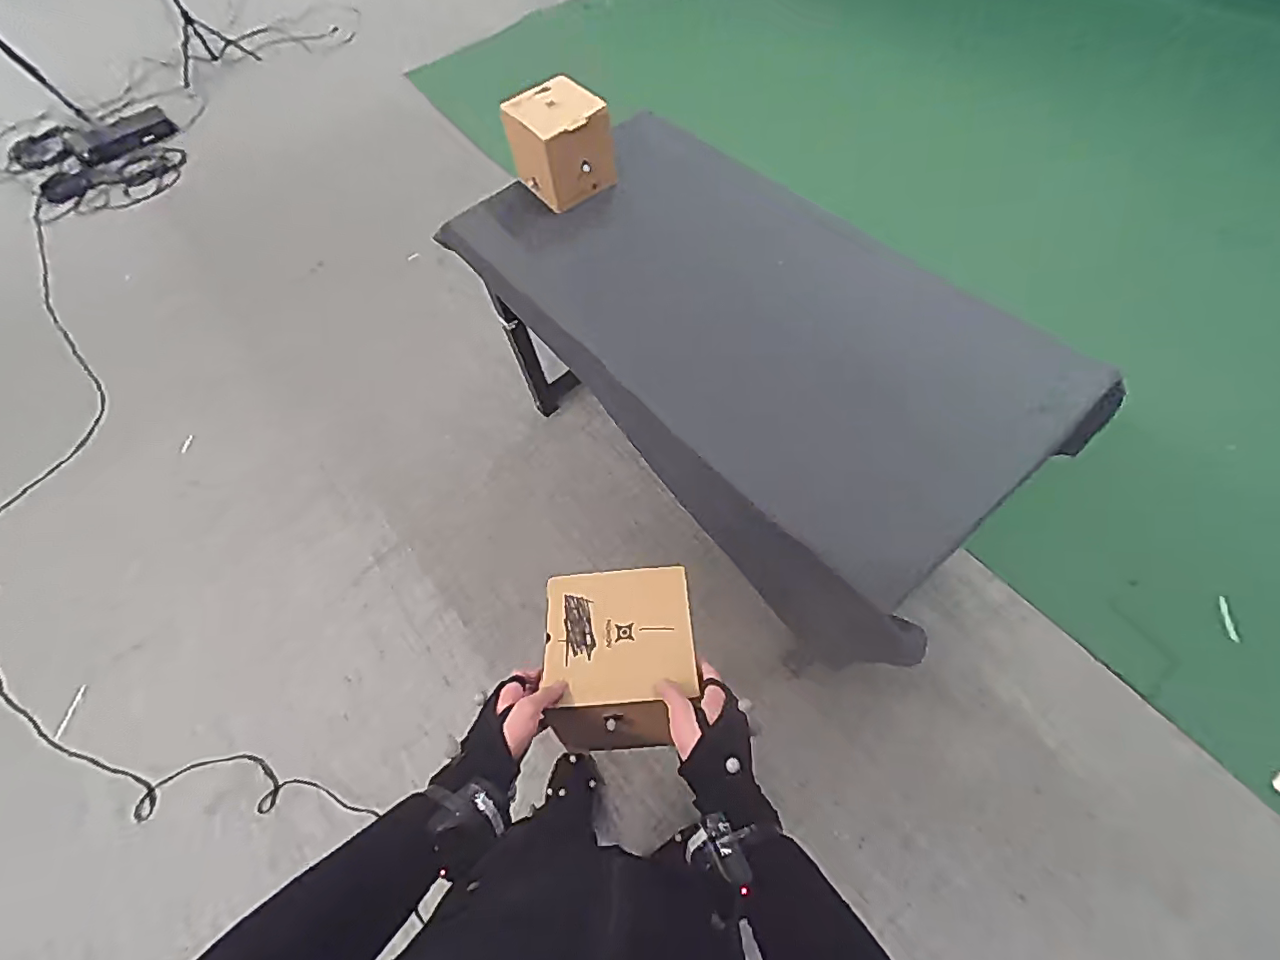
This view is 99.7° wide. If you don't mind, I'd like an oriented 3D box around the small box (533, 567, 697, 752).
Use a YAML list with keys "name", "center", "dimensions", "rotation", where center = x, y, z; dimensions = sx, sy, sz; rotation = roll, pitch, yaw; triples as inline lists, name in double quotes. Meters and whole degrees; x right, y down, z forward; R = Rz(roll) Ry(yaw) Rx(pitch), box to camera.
- name: "small box"
  center: [-0.024, 0.230, 0.682]
  dimensions: [0.179, 0.176, 0.168]
  rotation: [-5, 49, 2]

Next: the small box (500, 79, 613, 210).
- name: "small box"
  center: [-0.176, -0.731, 1.194]
  dimensions: [0.168, 0.176, 0.179]
  rotation: [-36, 66, -14]
